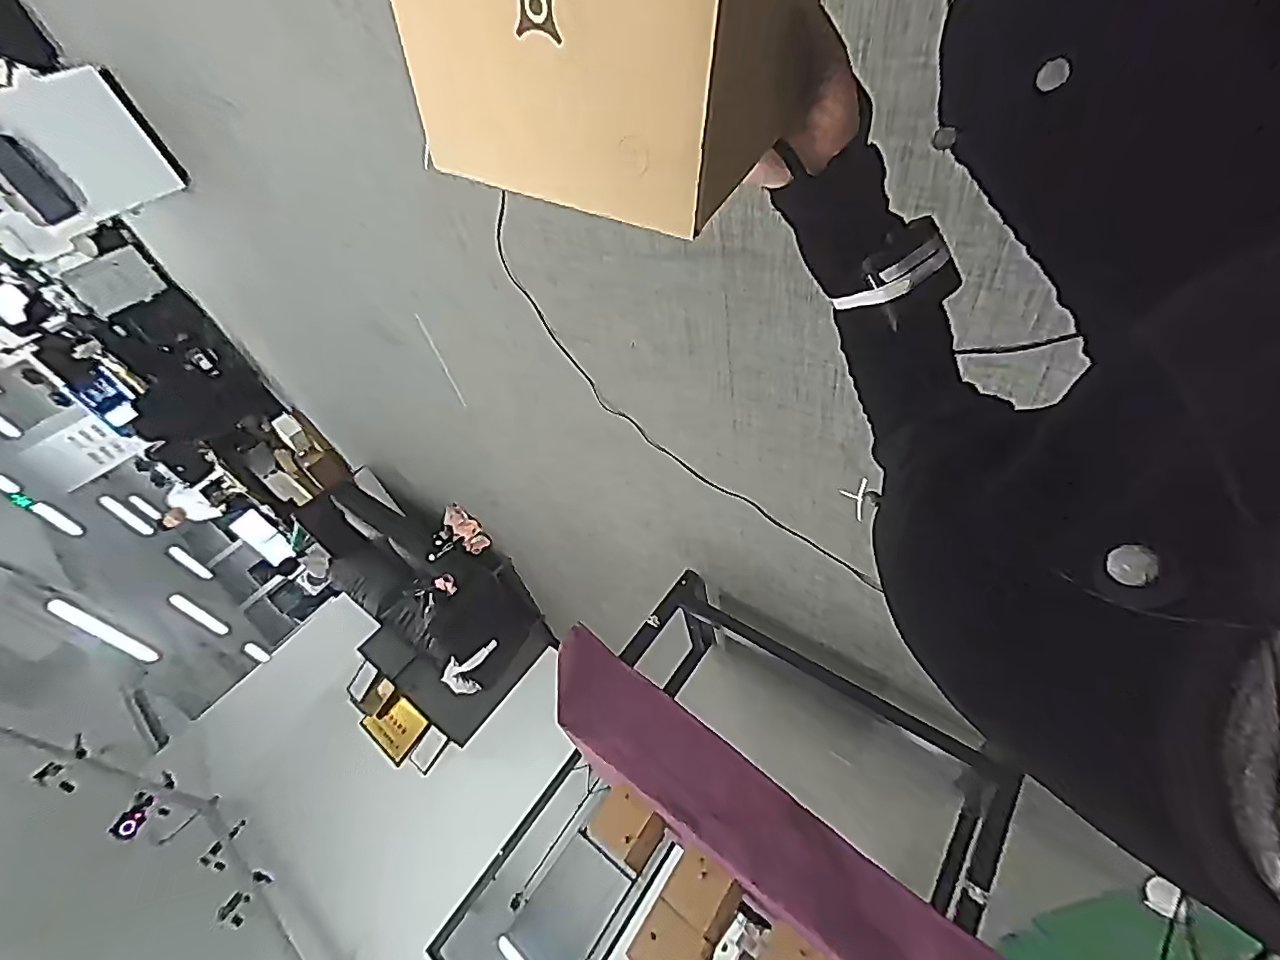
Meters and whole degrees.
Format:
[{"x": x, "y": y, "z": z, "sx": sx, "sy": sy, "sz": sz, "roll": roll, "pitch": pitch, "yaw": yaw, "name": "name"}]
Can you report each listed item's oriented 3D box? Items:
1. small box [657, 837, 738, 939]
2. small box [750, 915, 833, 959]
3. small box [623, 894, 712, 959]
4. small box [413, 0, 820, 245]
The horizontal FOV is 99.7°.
[{"x": 0.183, "y": 1.244, "z": 1.652, "sx": 0.168, "sy": 0.176, "sz": 0.179, "roll": 18, "pitch": 143, "yaw": 38, "name": "small box"}, {"x": 0.411, "y": 1.340, "z": 1.485, "sx": 0.179, "sy": 0.176, "sz": 0.168, "roll": 23, "pitch": 146, "yaw": 34, "name": "small box"}, {"x": 0.085, "y": 1.347, "z": 1.572, "sx": 0.179, "sy": 0.176, "sz": 0.168, "roll": 20, "pitch": 145, "yaw": 37, "name": "small box"}, {"x": 0.000, "y": -0.262, "z": 0.282, "sx": 0.168, "sy": 0.176, "sz": 0.179, "roll": 23, "pitch": 145, "yaw": 15, "name": "small box"}]
